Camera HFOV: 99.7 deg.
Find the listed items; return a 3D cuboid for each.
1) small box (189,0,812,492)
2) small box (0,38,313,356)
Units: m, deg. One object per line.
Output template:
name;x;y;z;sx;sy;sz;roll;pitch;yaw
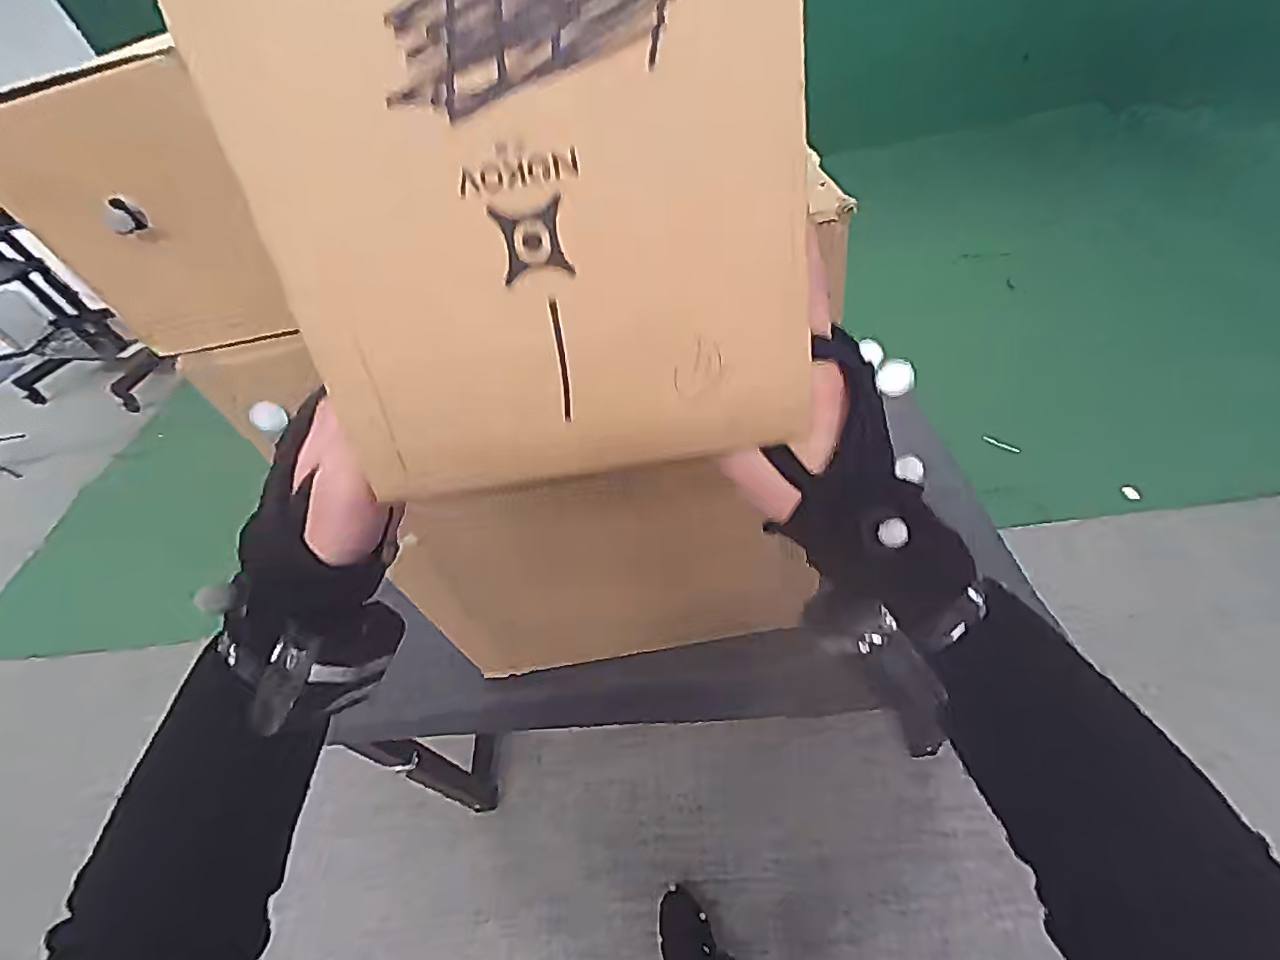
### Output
small box;-0.031;-0.116;0.238;0.168;0.179;0.176;-8;24;4
small box;-0.310;-0.215;0.412;0.179;0.176;0.168;-9;48;9
